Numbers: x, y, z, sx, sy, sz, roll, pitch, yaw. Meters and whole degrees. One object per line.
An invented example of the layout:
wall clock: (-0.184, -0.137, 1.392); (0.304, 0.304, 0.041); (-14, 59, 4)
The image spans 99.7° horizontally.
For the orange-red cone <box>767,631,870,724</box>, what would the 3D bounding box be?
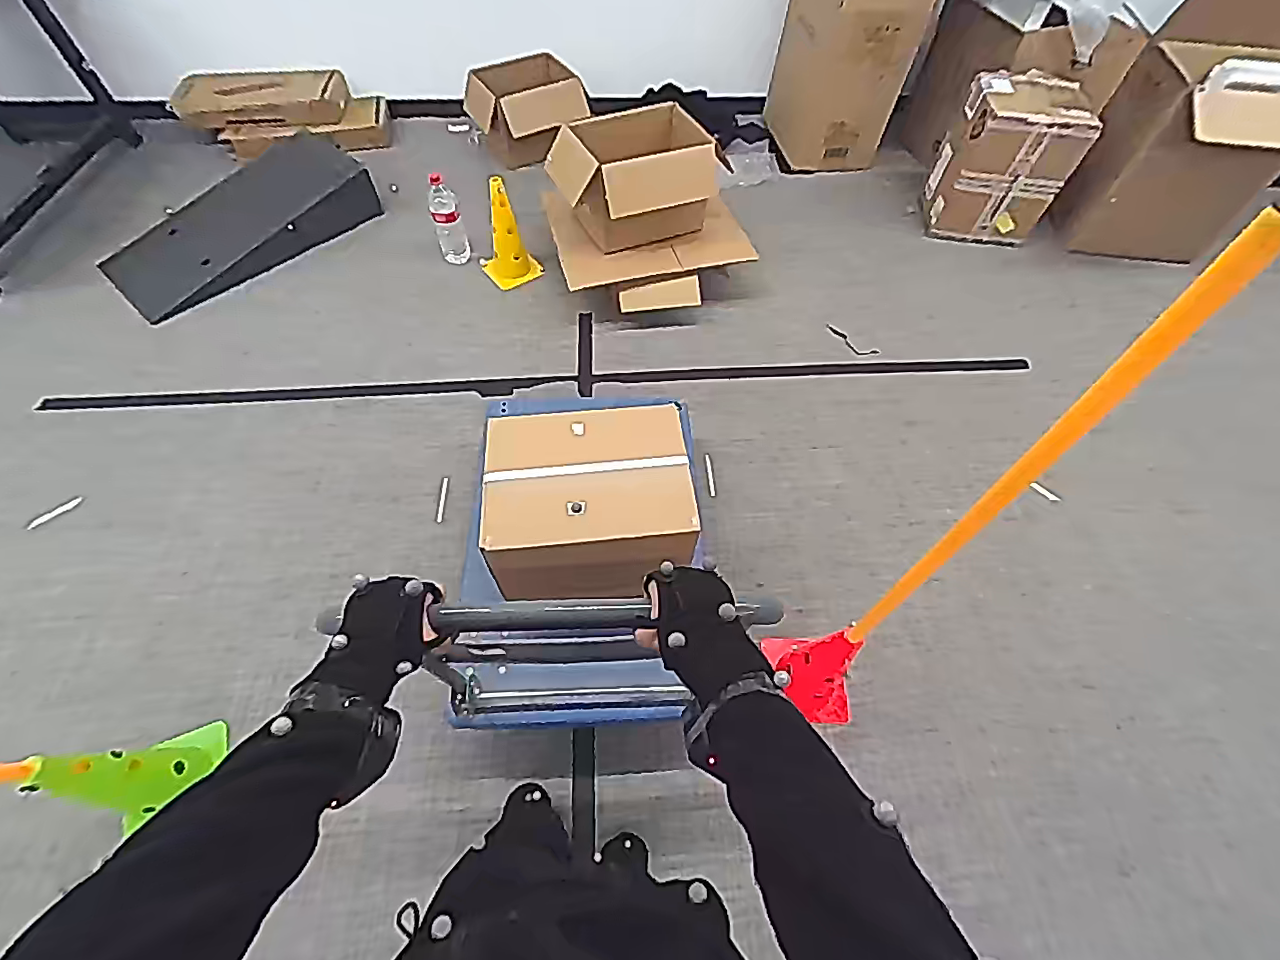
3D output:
orange-red cone: (0.419, 0.398, 1.181); (0.199, 0.360, 0.198); (4, 58, 0)
